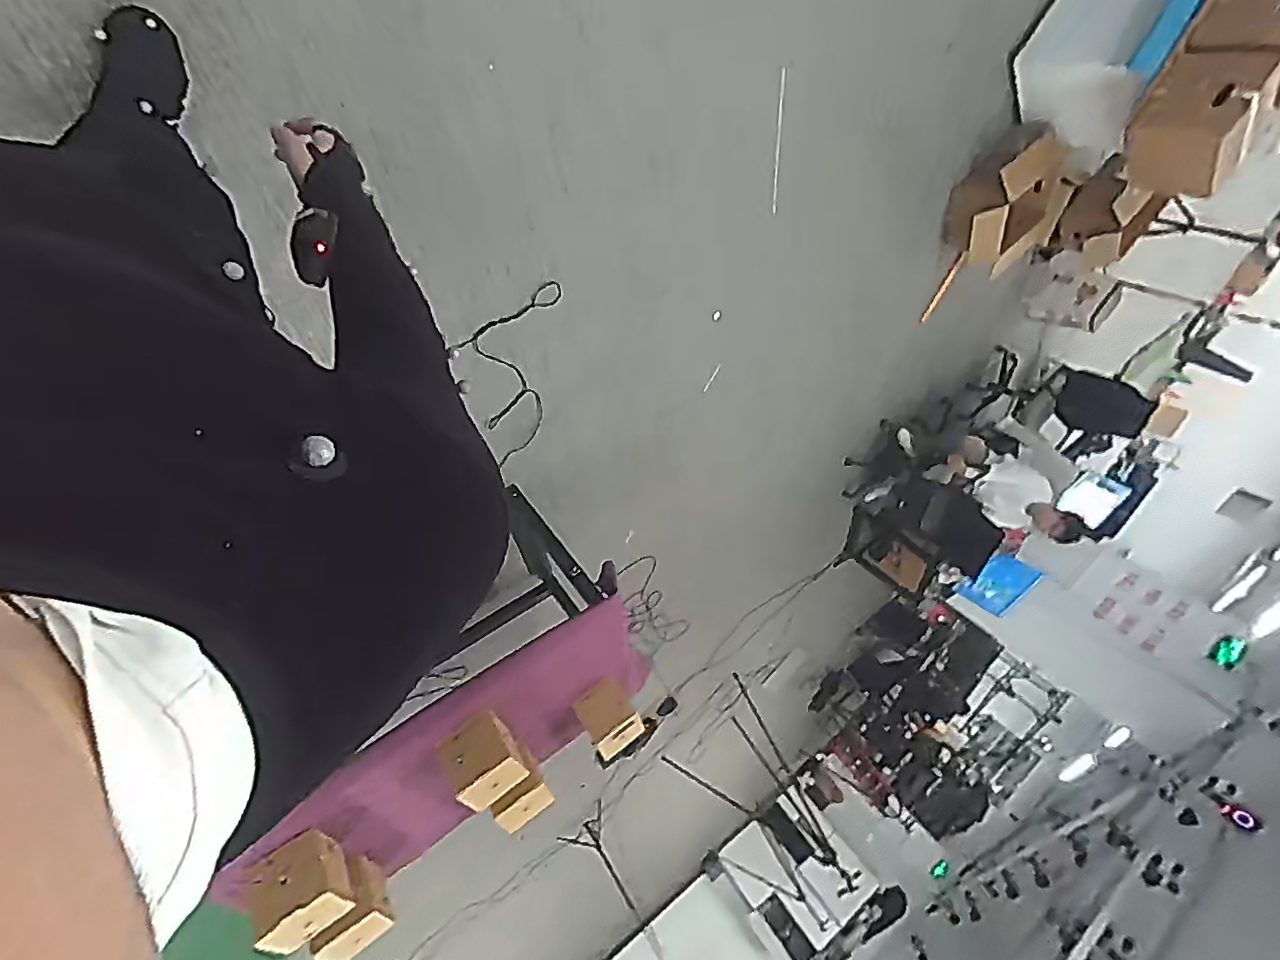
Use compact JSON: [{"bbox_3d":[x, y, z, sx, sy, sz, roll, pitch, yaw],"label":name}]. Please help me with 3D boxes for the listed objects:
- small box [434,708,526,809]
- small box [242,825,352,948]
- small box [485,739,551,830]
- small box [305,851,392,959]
[{"bbox_3d":[-0.449,0.774,1.514,0.168,0.176,0.179,-31,141,-18],"label":"small box"},{"bbox_3d":[-0.848,0.998,1.338,0.168,0.176,0.179,-26,139,-25],"label":"small box"},{"bbox_3d":[-0.408,0.961,1.718,0.168,0.176,0.179,-30,138,-19],"label":"small box"},{"bbox_3d":[-0.833,1.197,1.530,0.168,0.176,0.179,-27,137,-25],"label":"small box"}]
